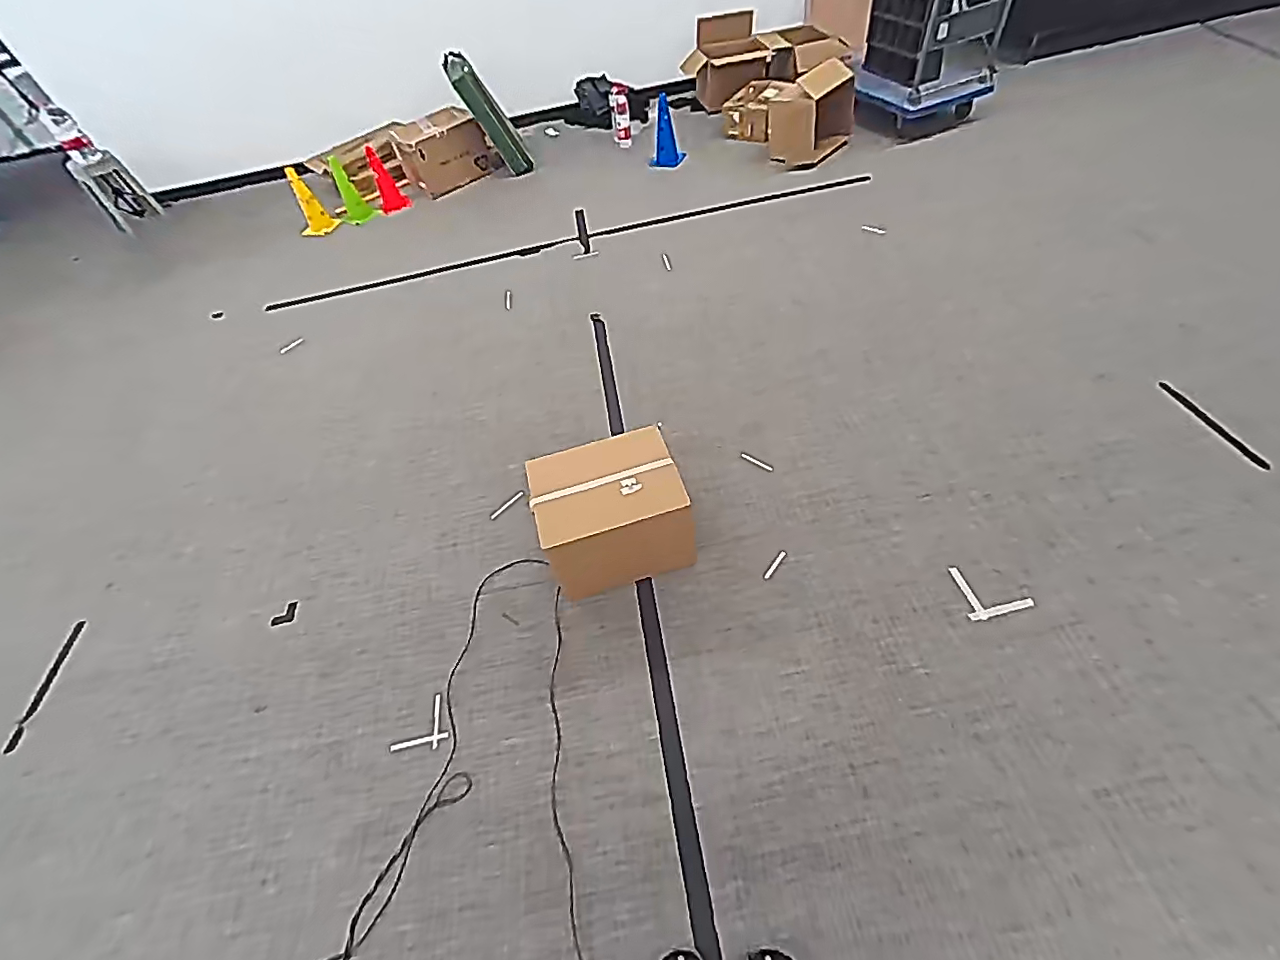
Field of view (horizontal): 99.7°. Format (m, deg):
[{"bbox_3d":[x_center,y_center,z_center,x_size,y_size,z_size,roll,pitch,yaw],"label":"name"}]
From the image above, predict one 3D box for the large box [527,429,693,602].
[{"bbox_3d":[-0.081,0.108,1.594,0.408,0.320,0.320,-16,52,-5],"label":"large box"}]
